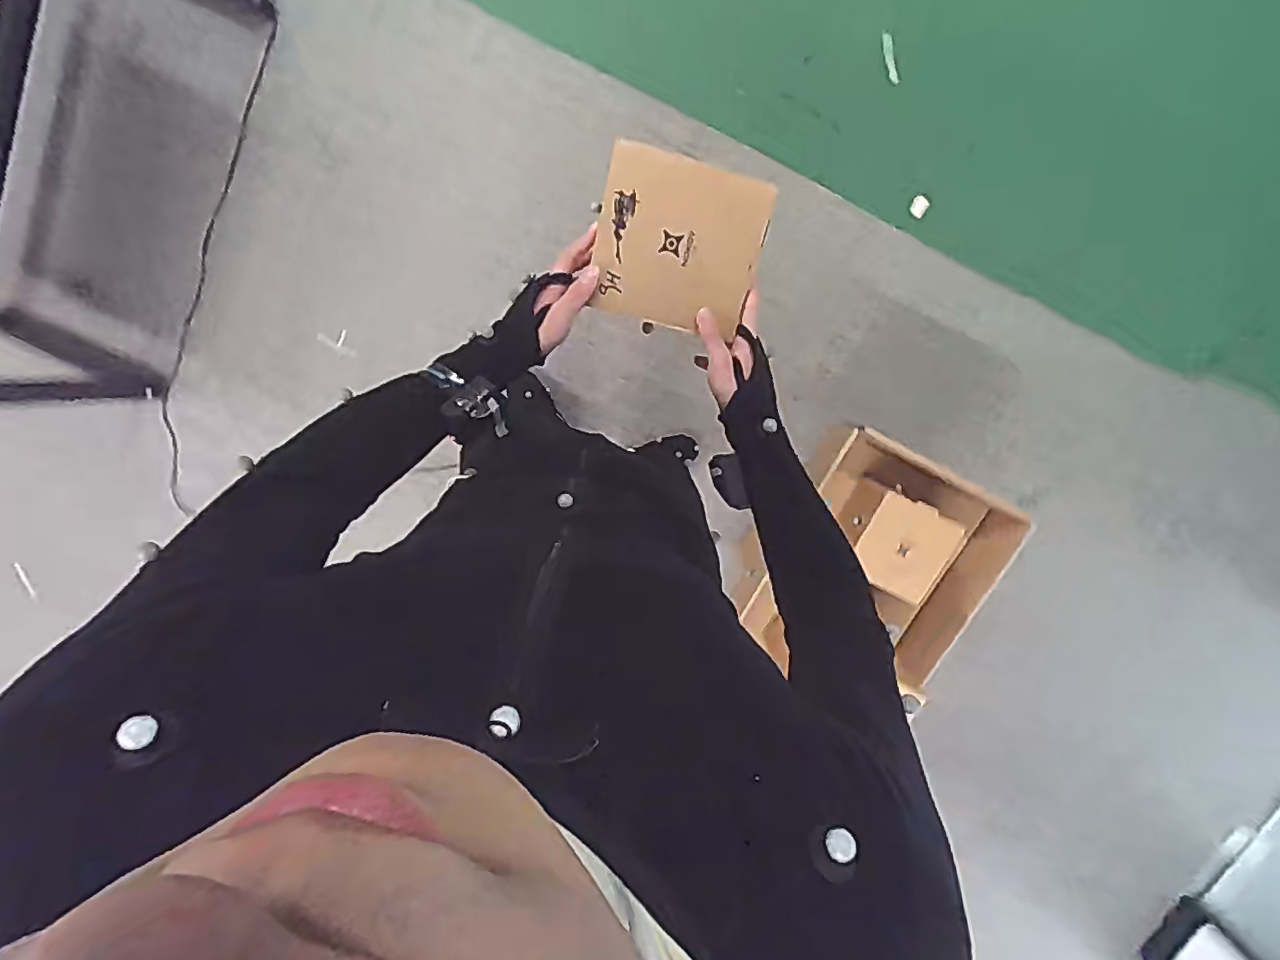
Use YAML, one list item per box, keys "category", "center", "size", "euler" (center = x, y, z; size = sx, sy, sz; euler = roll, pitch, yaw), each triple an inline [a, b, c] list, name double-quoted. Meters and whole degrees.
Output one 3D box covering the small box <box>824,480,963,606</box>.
- category: "small box"
  center: [0.503, 0.117, 1.106]
  size: [0.168, 0.176, 0.179]
  euler: [27, 102, -1]
